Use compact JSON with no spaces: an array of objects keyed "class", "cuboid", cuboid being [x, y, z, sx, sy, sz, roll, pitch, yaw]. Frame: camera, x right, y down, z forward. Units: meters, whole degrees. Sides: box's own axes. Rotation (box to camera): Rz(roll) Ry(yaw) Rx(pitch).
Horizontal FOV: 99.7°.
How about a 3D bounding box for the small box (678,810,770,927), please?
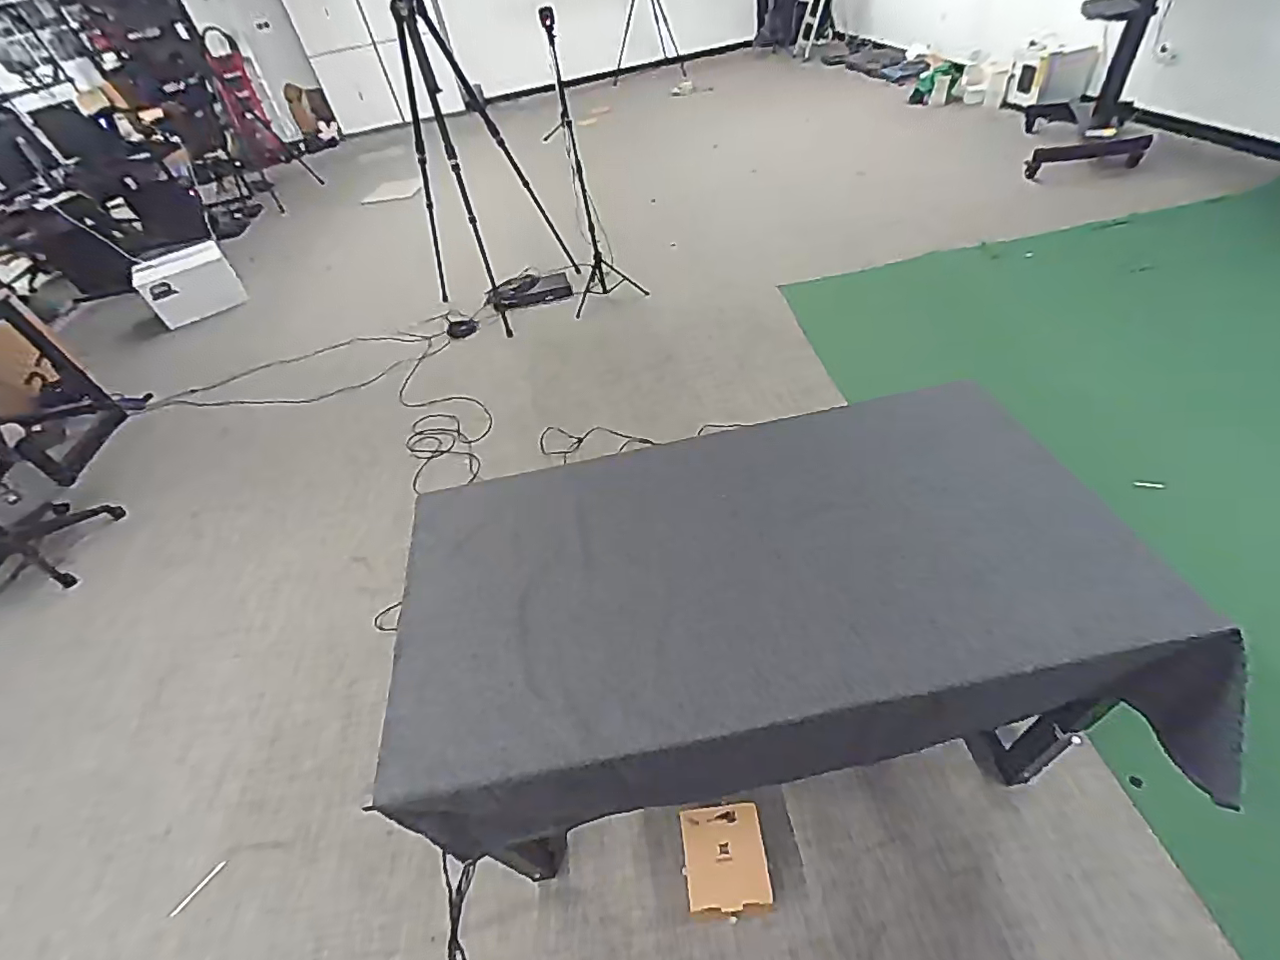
[{"class":"small box","cuboid":[0.178,0.825,1.143,0.168,0.176,0.179,-9,45,4]}]
